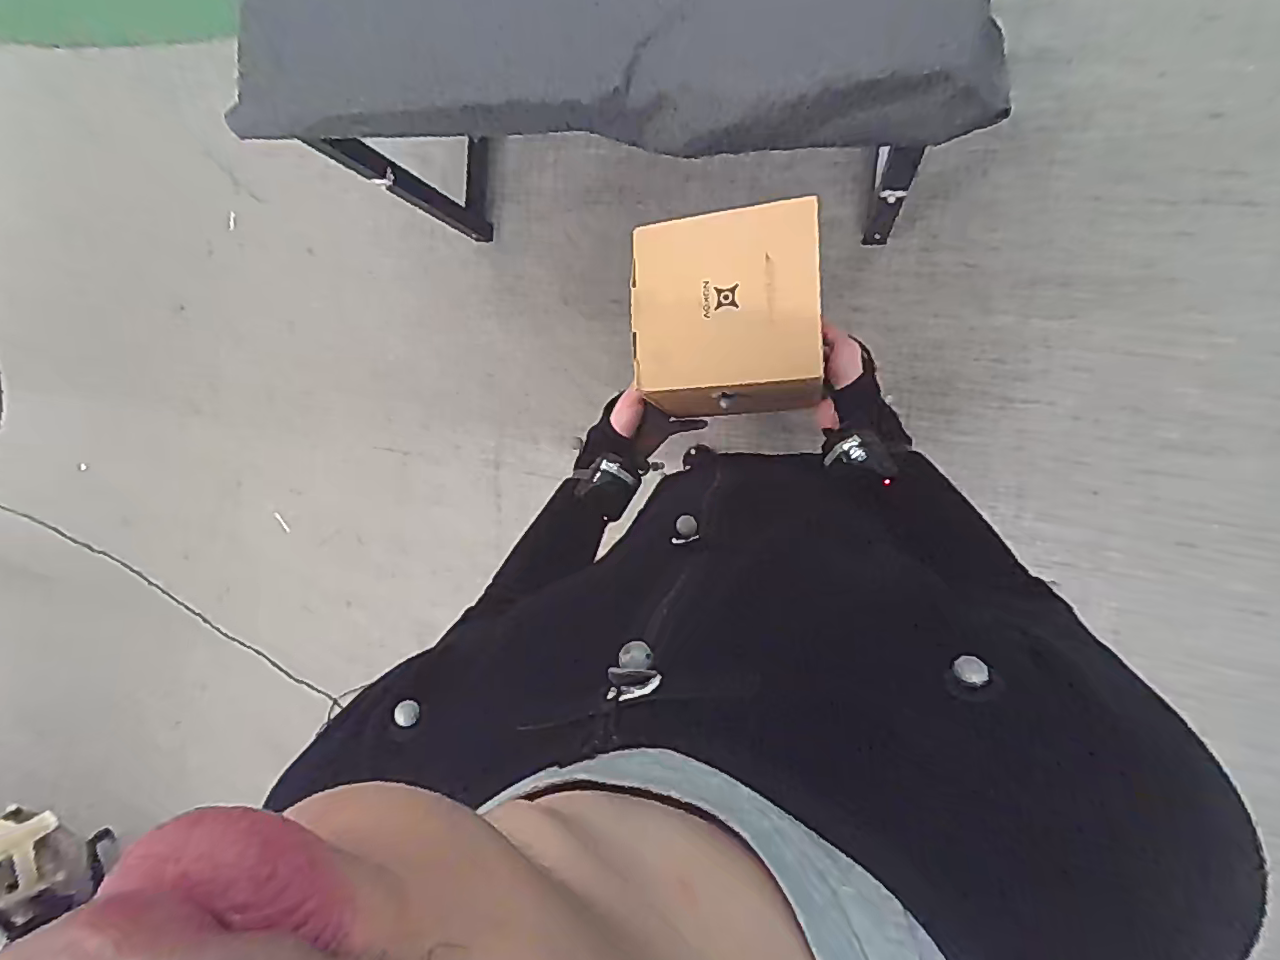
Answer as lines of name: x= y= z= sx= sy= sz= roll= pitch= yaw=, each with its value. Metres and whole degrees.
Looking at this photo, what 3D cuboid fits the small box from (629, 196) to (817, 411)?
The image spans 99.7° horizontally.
small box: x=0.096 y=-0.168 z=0.579 sx=0.179 sy=0.176 sz=0.168 roll=-1 pitch=89 yaw=16
